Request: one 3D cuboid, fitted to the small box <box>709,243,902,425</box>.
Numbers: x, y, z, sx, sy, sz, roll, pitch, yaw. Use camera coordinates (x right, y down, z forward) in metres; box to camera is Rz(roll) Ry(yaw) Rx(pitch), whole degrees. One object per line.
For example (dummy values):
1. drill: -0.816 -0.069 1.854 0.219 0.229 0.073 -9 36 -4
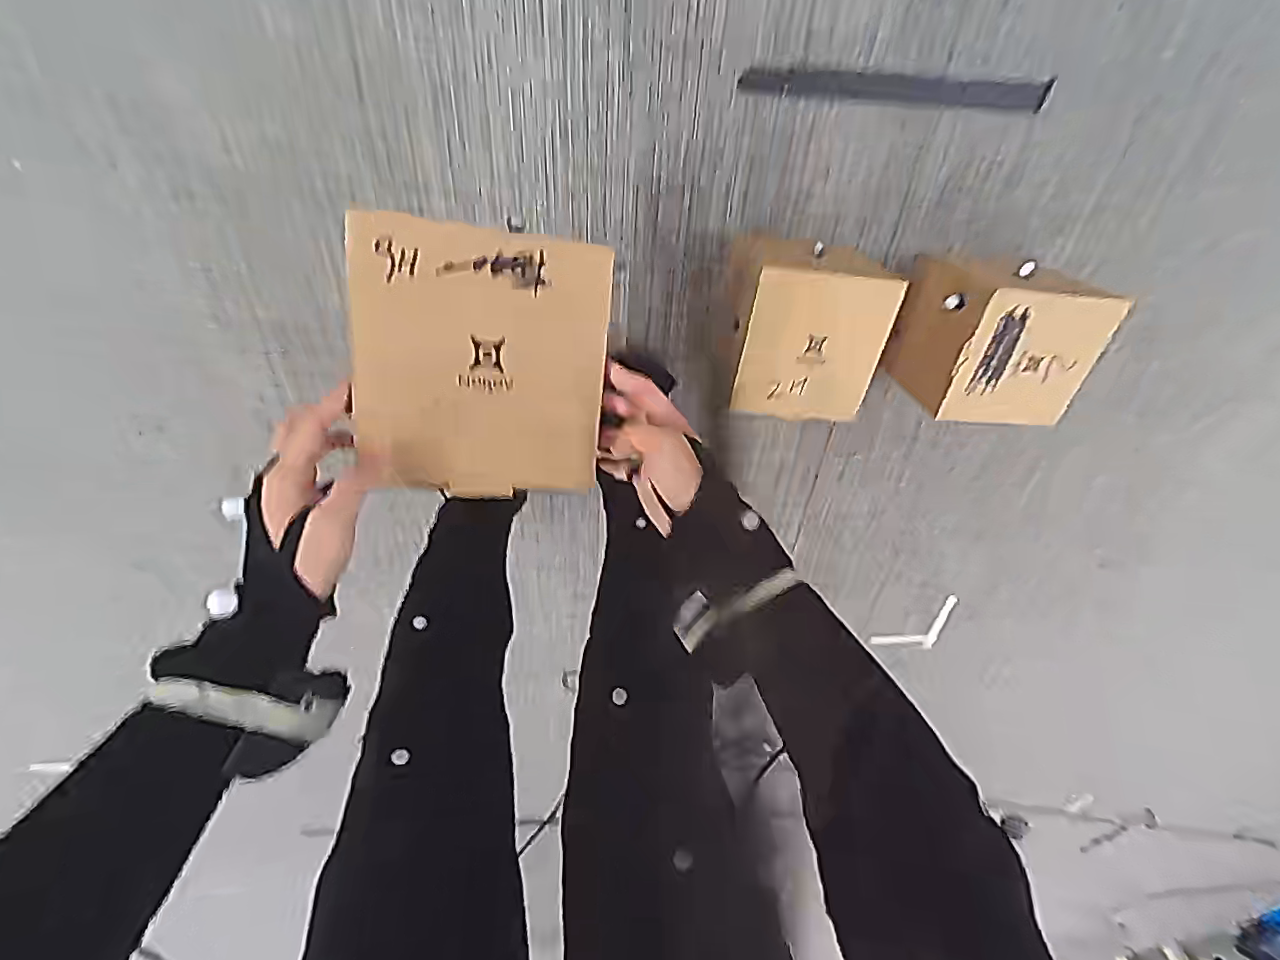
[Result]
1. small box: 0.191 -0.191 0.691 0.168 0.176 0.179 4 125 -7
